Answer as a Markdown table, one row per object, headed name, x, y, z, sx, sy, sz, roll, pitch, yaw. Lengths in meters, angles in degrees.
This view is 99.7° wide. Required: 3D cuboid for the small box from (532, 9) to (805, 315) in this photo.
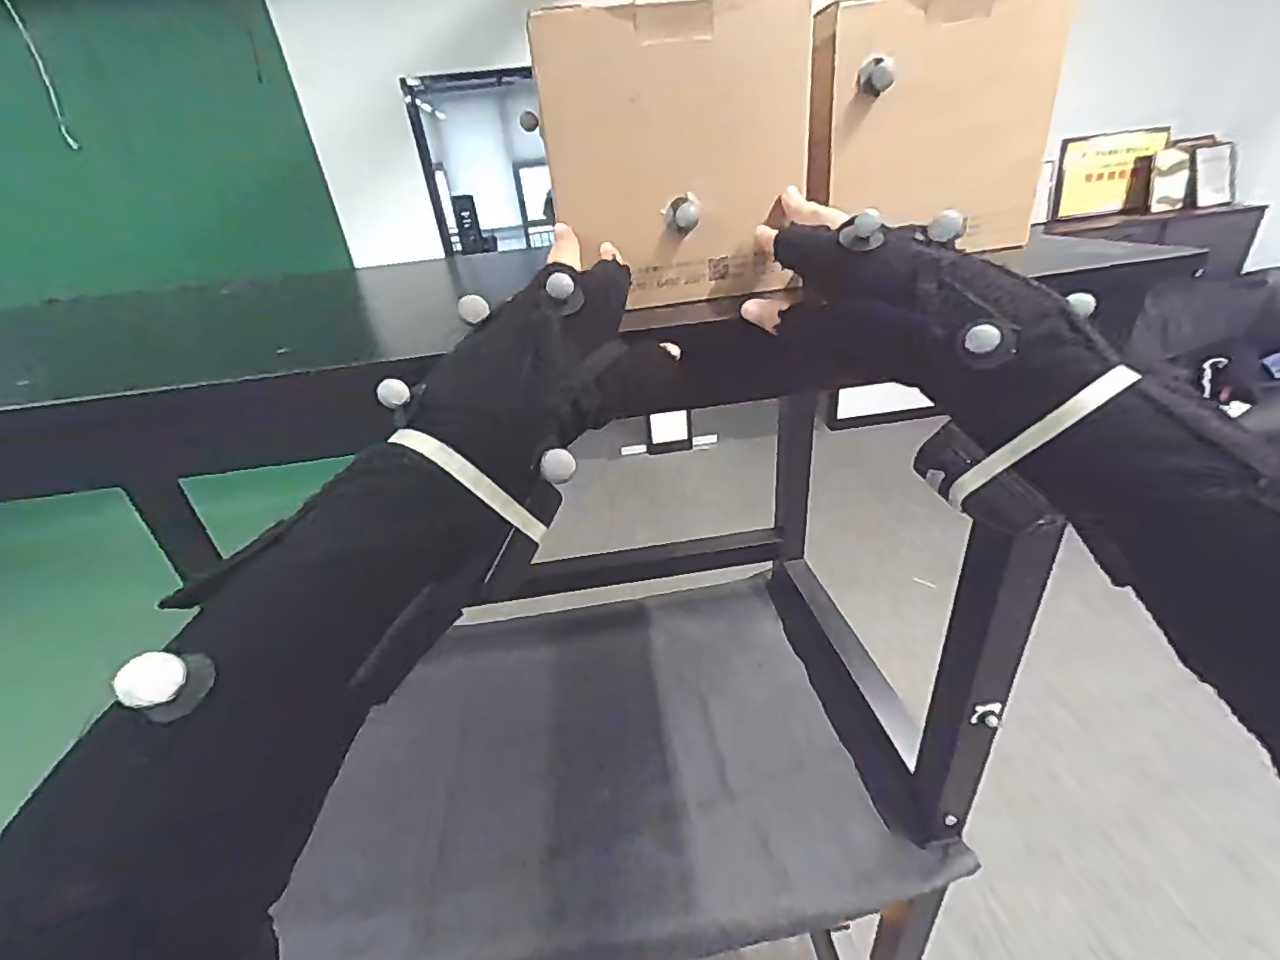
| name | x | y | z | sx | sy | sz | roll | pitch | yaw |
| --- | --- | --- | --- | --- | --- | --- | --- | --- | --- |
| small box | 0.014 | -0.234 | 0.426 | 0.168 | 0.176 | 0.179 | -9 | 29 | -4 |
